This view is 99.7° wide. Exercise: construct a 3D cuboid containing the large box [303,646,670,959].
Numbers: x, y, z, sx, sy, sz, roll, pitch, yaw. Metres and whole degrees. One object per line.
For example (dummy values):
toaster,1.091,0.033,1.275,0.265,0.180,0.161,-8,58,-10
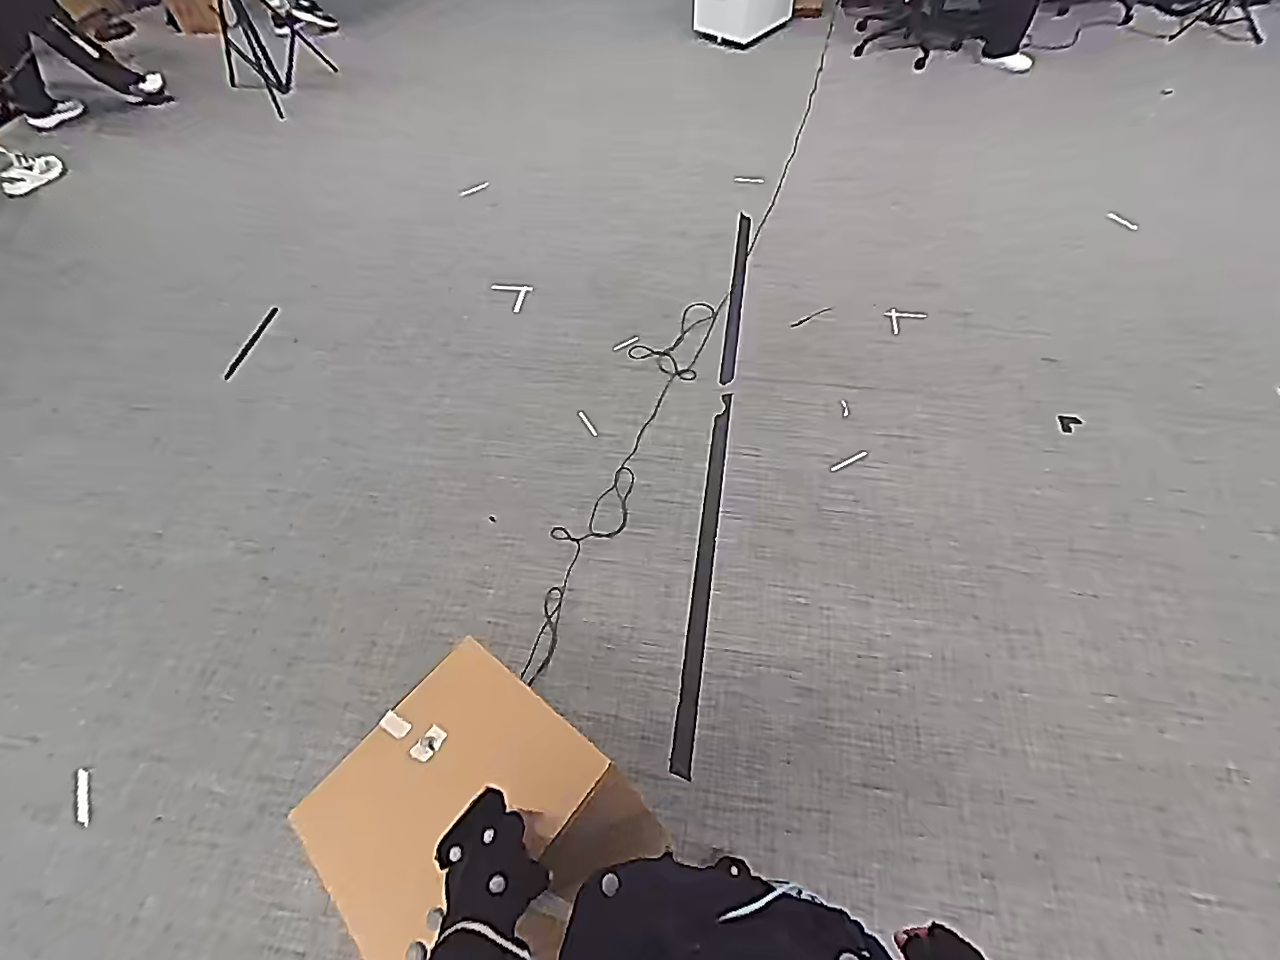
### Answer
large box,-0.200,0.529,0.825,0.320,0.408,0.320,26,59,36
